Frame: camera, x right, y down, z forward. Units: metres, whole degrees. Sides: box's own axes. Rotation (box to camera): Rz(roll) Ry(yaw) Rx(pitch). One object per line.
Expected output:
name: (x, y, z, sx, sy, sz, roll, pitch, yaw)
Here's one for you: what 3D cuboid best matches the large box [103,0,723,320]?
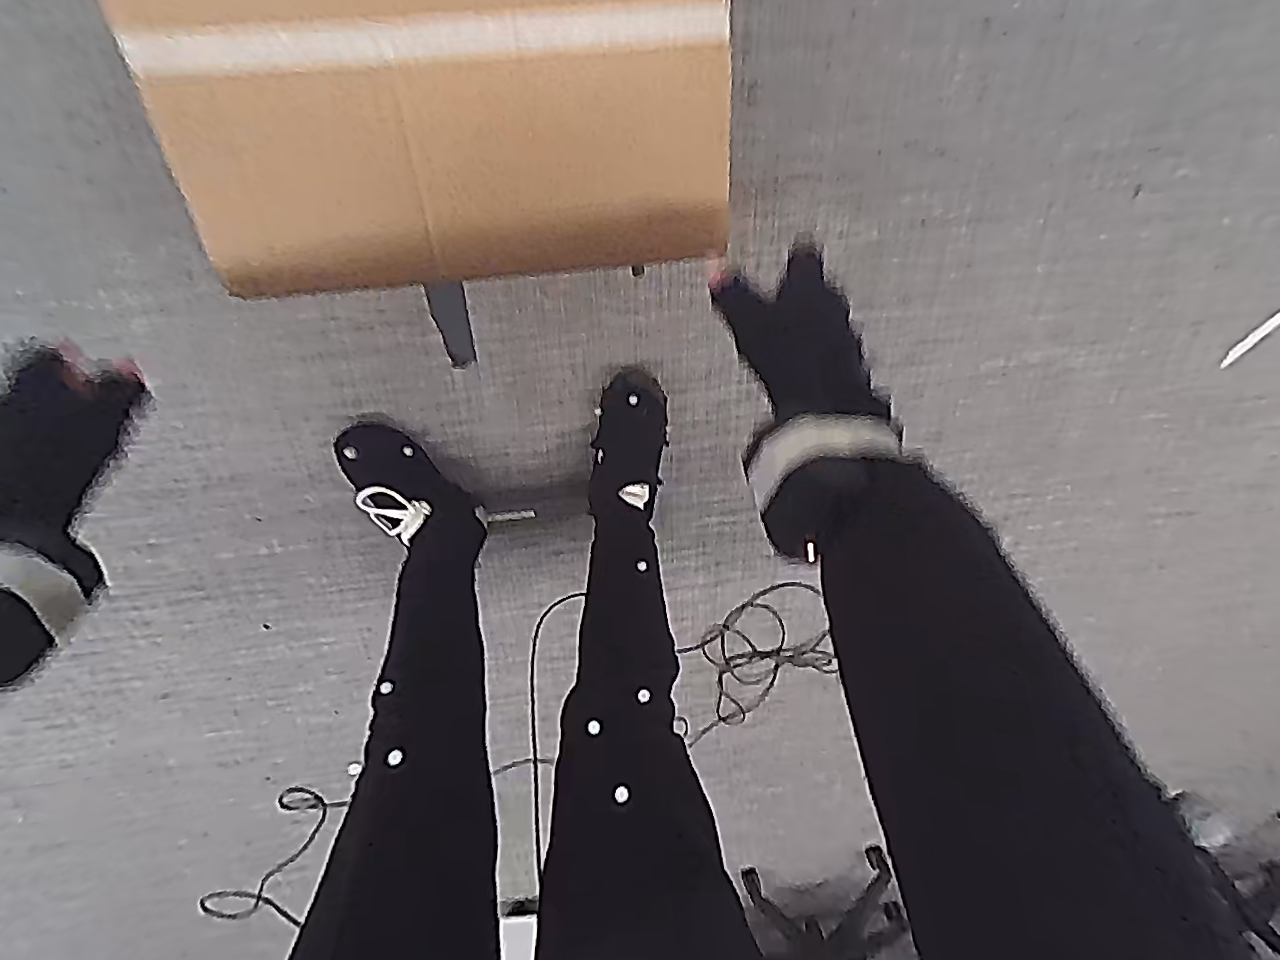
large box: (-0.154, -0.357, 0.504, 0.408, 0.320, 0.320, -7, 117, -4)
